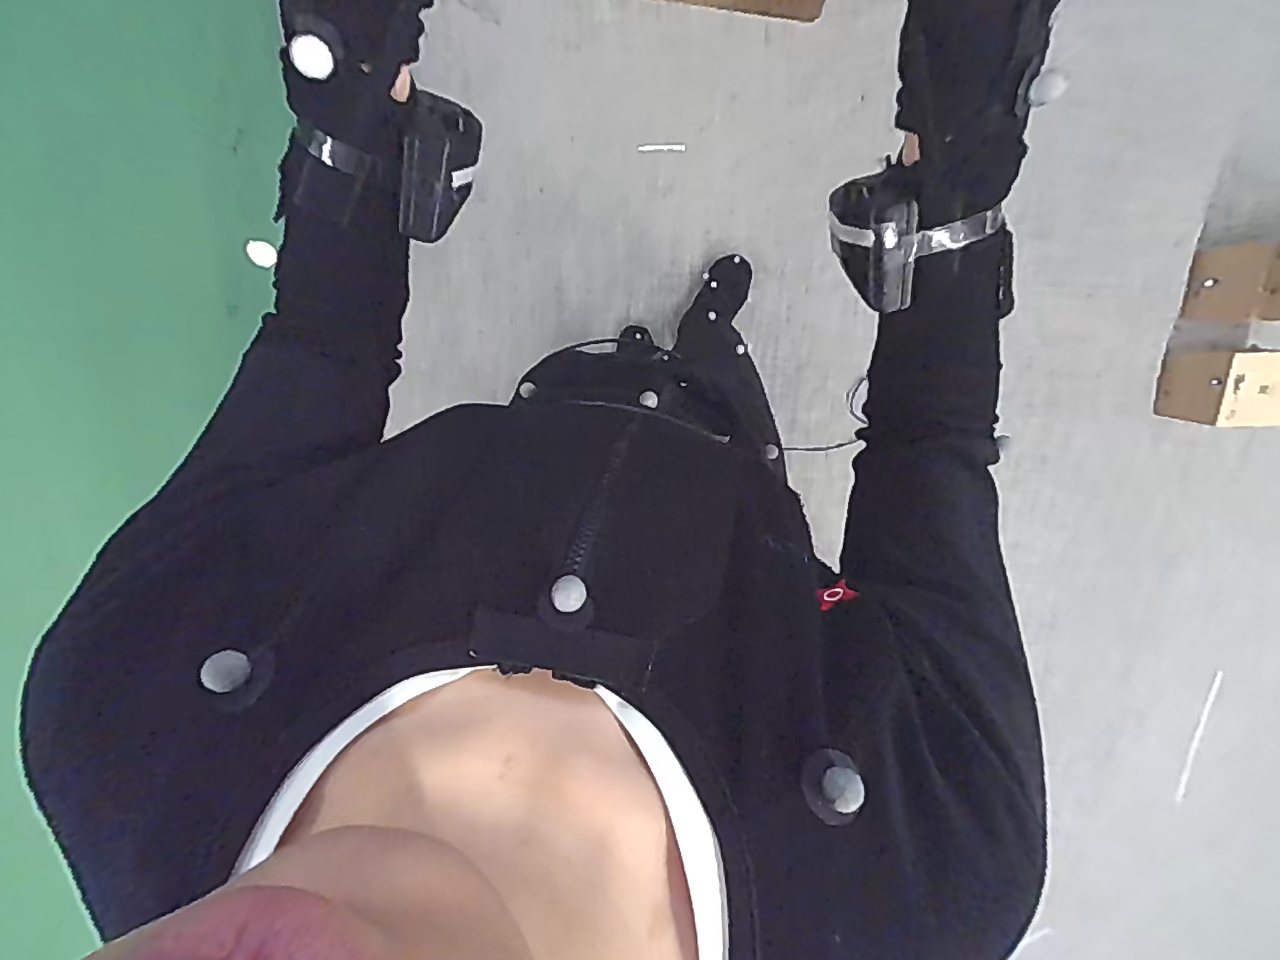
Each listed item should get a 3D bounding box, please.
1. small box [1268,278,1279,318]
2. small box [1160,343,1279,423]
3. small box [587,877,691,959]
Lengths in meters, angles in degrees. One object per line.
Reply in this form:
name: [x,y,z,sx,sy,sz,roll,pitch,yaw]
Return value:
small box: [1.393,-0.398,1.034,0.179,0.176,0.168,0,106,2]
small box: [1.385,-0.228,1.256,0.179,0.176,0.168,-1,106,3]
small box: [-0.006,0.806,0.889,0.168,0.176,0.179,6,106,1]
